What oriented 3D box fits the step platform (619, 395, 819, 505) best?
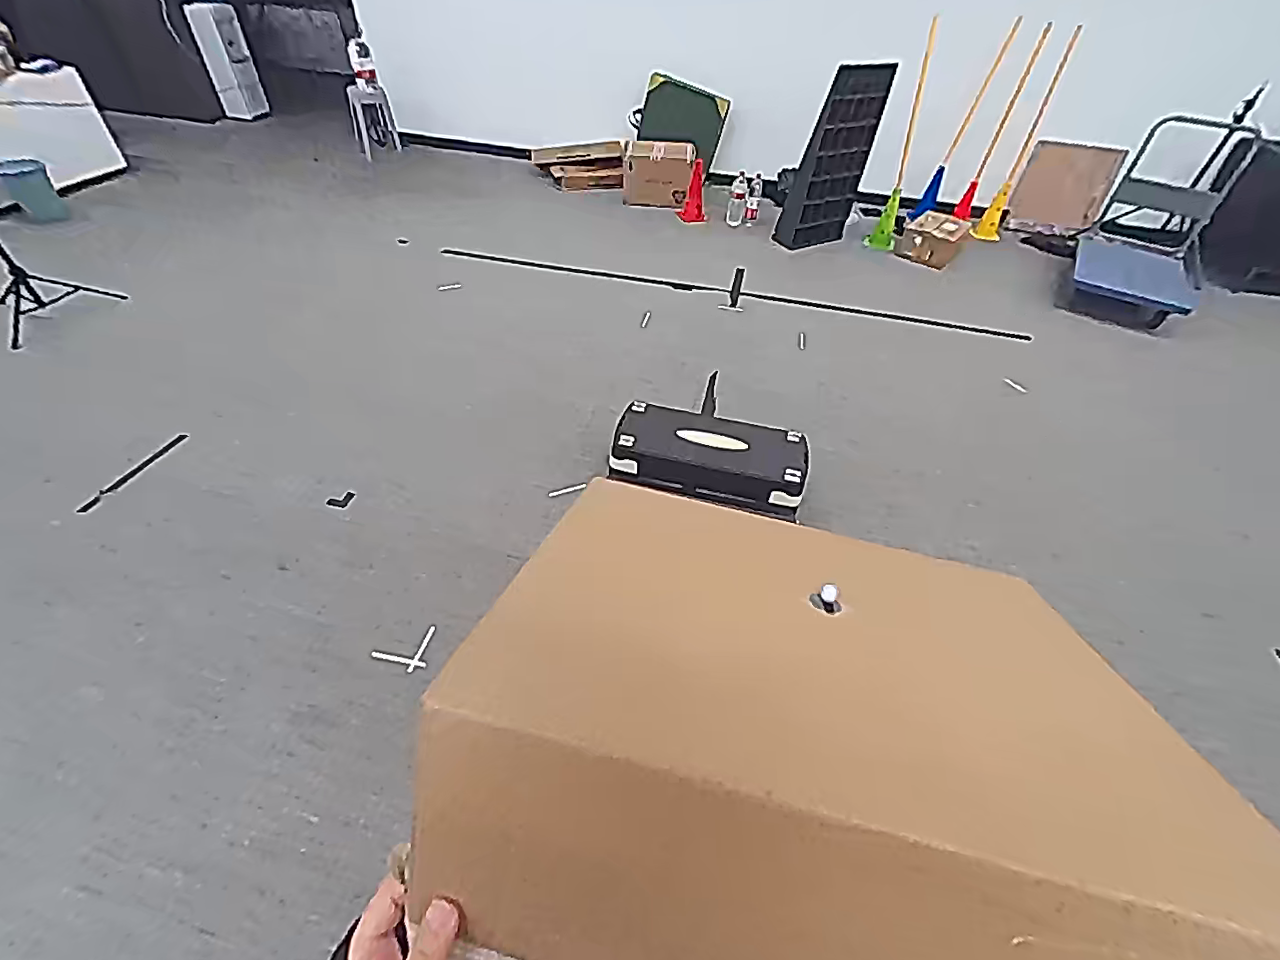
[{"bbox_3d":[0.276,-0.086,1.912,0.684,0.204,0.286,16,46,10],"label":"step platform"}]
